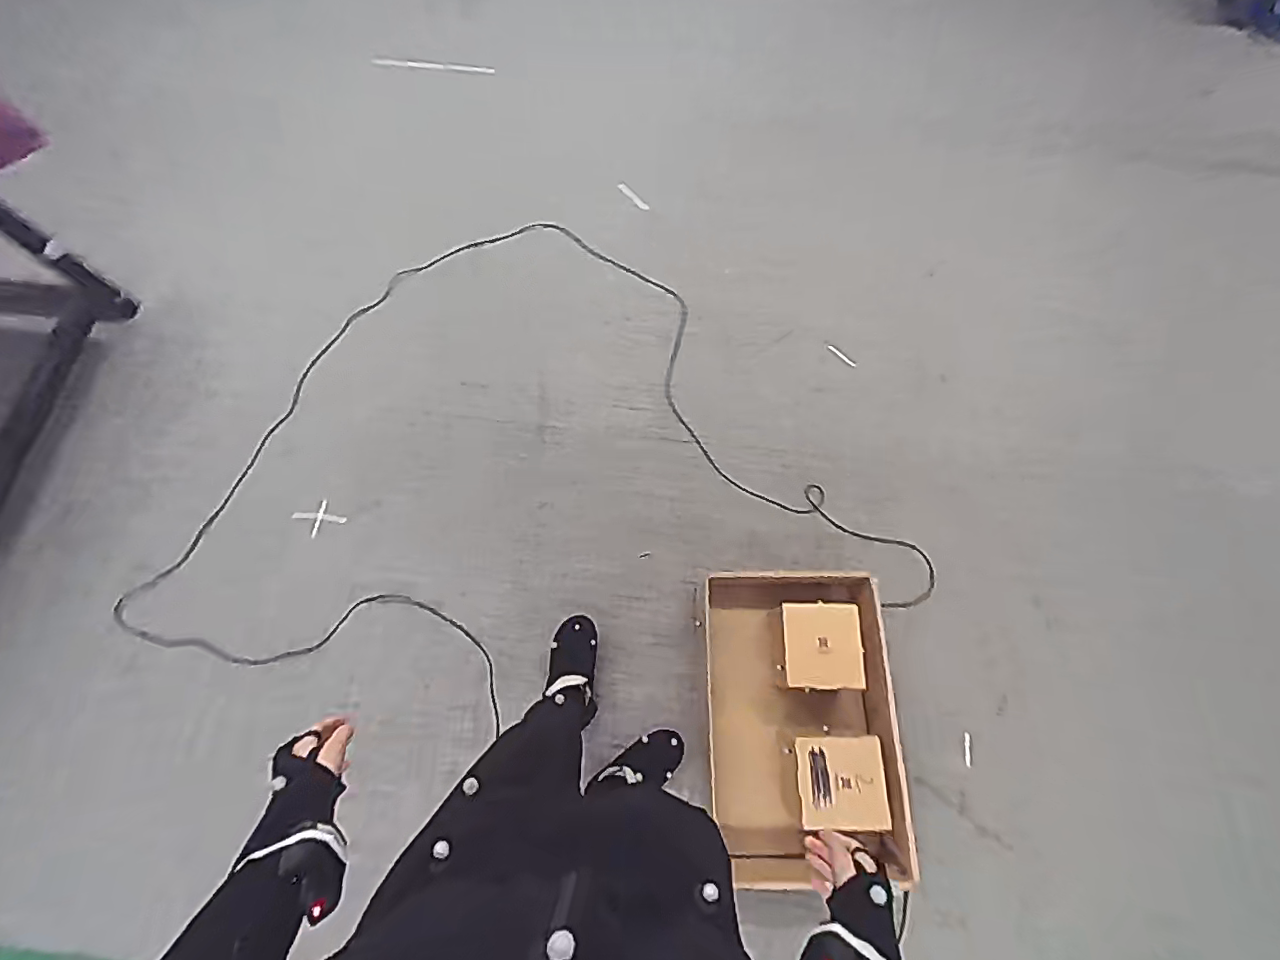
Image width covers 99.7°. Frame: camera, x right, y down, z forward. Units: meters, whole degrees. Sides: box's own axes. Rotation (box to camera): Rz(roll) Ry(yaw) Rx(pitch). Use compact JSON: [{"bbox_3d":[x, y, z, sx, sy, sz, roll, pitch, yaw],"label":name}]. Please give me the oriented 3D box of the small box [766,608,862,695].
[{"bbox_3d":[0.389,0.392,1.237,0.168,0.176,0.179,1,72,2],"label":"small box"}]
